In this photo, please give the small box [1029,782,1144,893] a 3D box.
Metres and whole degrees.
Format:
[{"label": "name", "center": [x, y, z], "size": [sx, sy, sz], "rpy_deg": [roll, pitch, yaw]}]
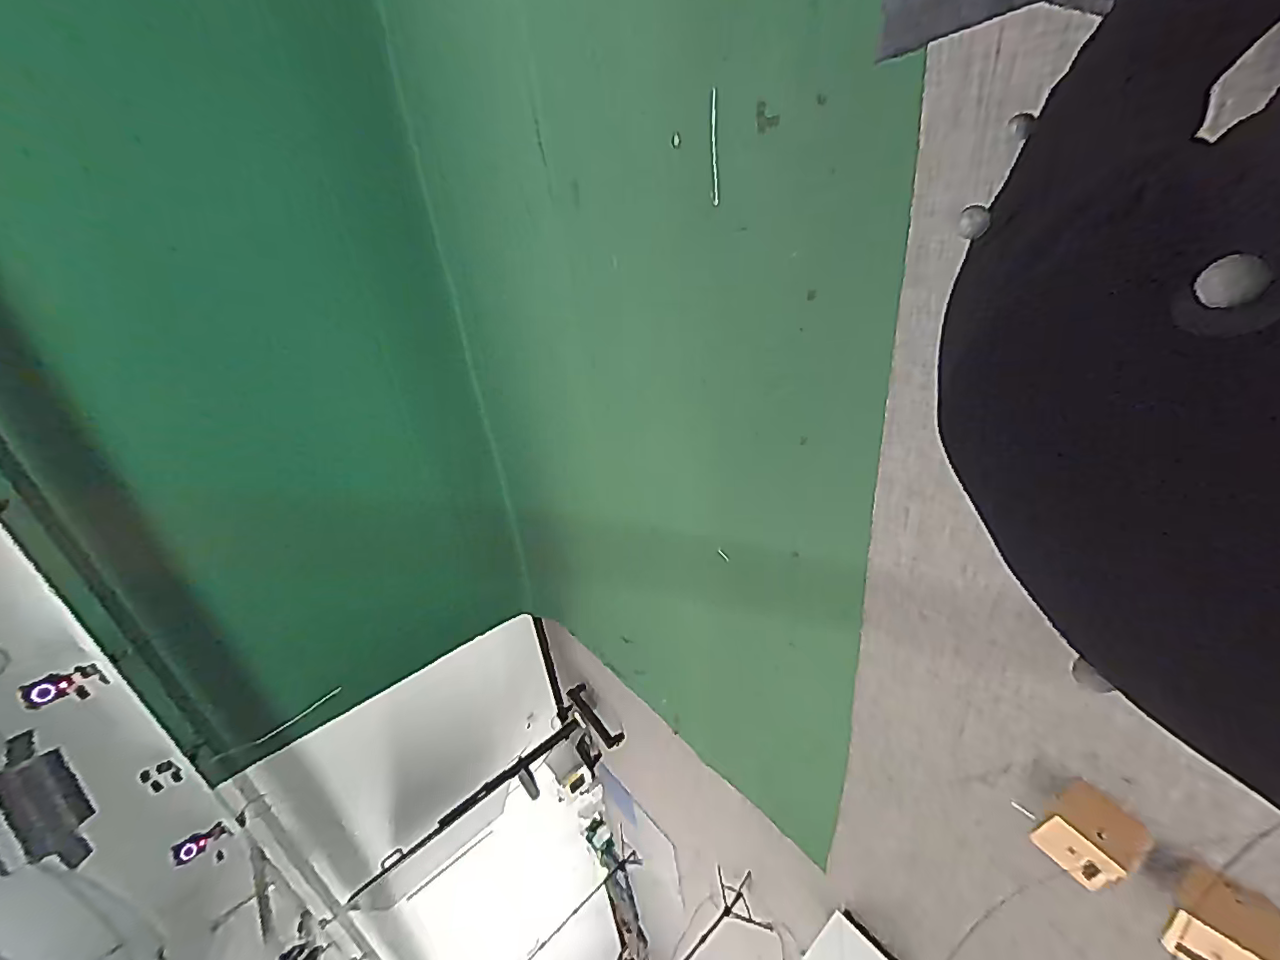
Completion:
[{"label": "small box", "center": [1.269, 1.010, 1.535], "size": [0.179, 0.176, 0.168], "rpy_deg": [39, 140, 36]}]
